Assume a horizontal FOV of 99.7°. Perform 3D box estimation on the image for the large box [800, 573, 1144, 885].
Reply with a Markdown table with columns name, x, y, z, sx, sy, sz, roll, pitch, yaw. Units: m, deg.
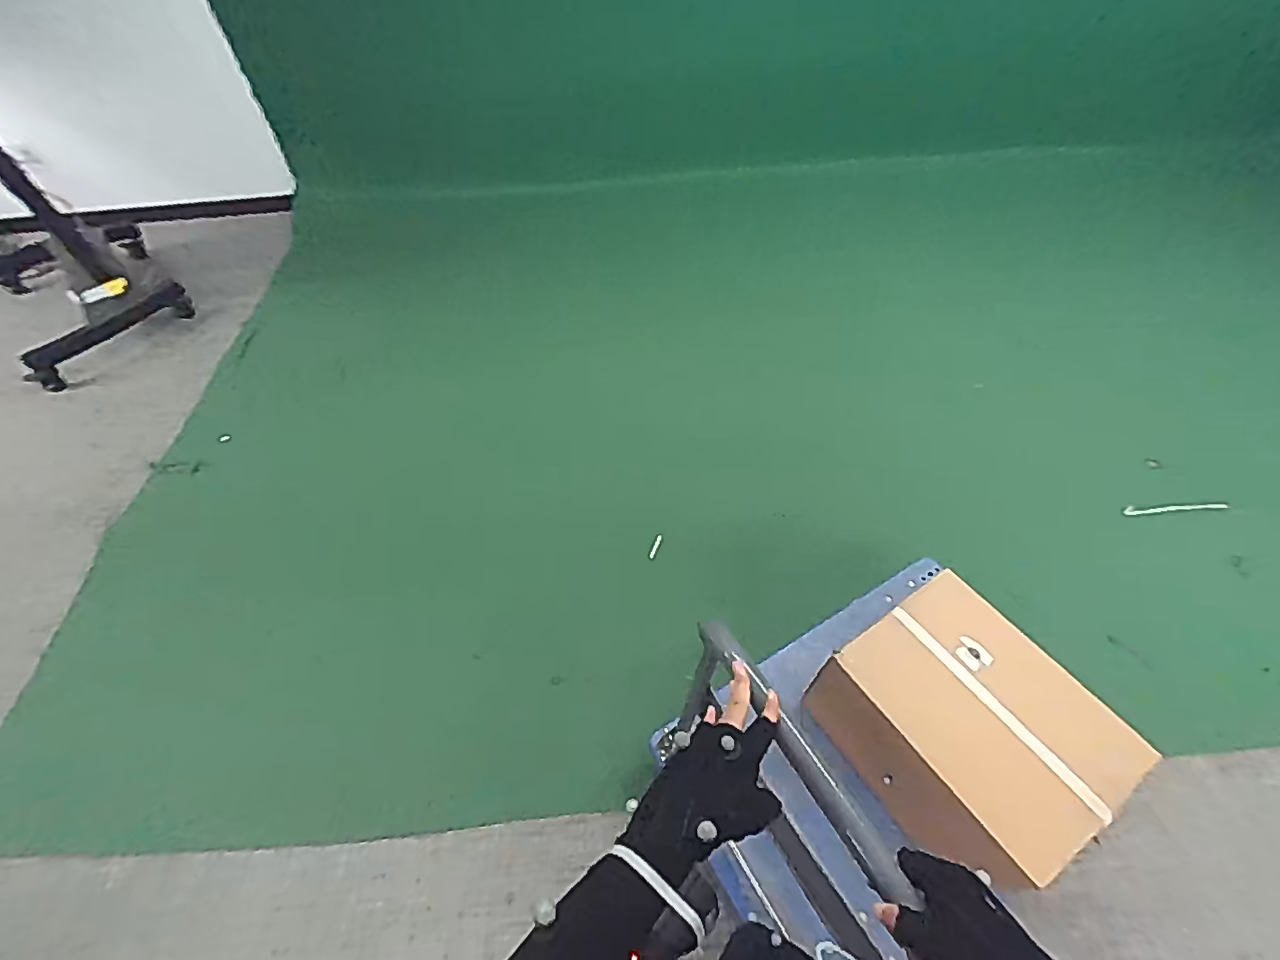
| name | x | y | z | sx | sy | sz | roll | pitch | yaw |
| --- | --- | --- | --- | --- | --- | --- | --- | --- | --- |
| large box | 0.581 | 0.468 | 1.036 | 0.320 | 0.320 | 0.408 | -28 | 55 | -19 |
